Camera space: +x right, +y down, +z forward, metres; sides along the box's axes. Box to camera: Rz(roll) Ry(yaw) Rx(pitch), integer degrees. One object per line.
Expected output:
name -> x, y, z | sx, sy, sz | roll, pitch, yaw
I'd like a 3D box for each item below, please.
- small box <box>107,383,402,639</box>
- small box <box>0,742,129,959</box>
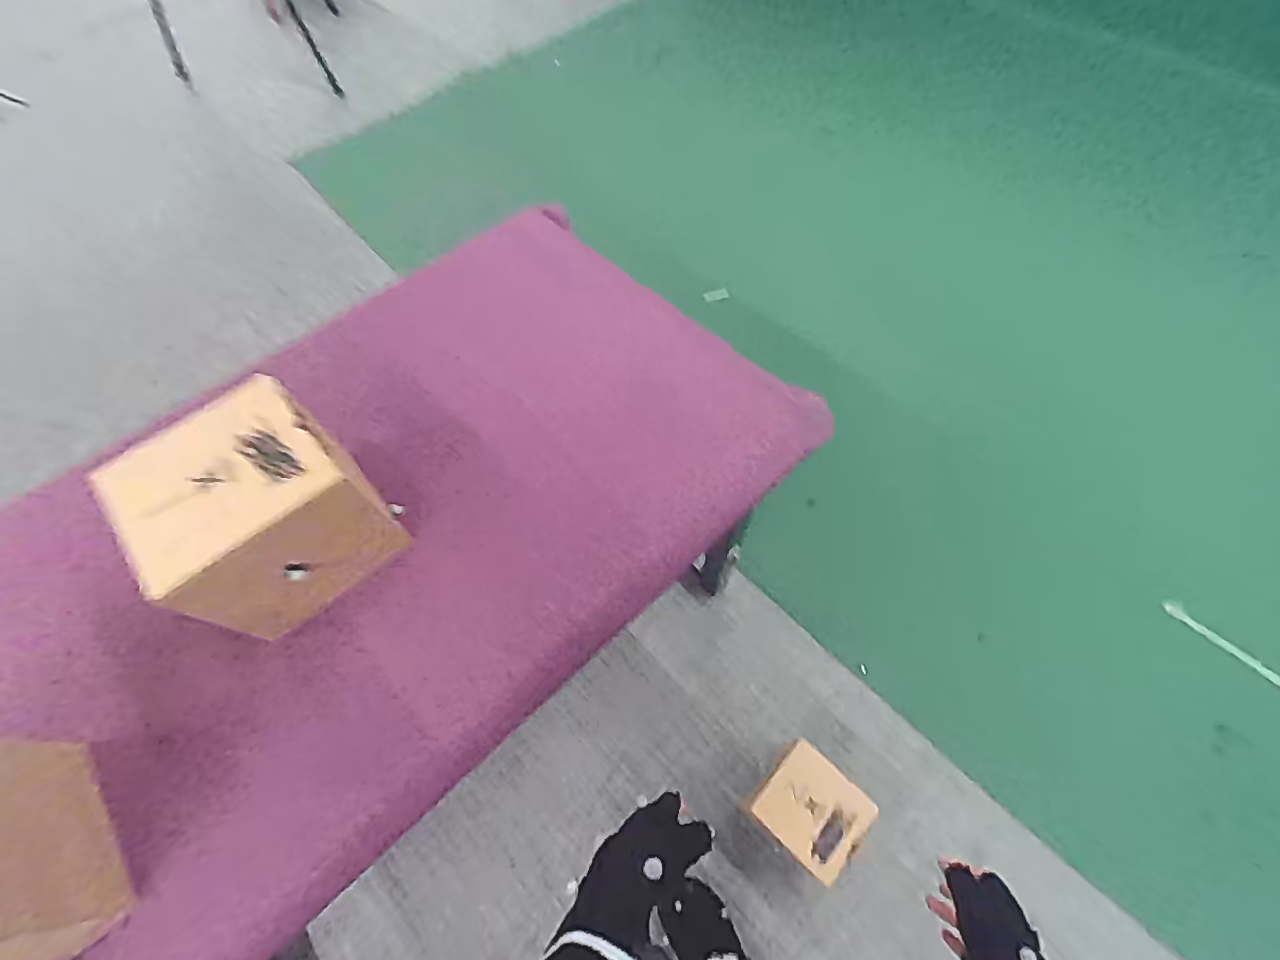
small box -> -0.383, 0.039, 0.574 | 0.179, 0.176, 0.168 | -38, 67, -17
small box -> -0.564, 0.327, 0.417 | 0.168, 0.176, 0.179 | -36, 67, -17
